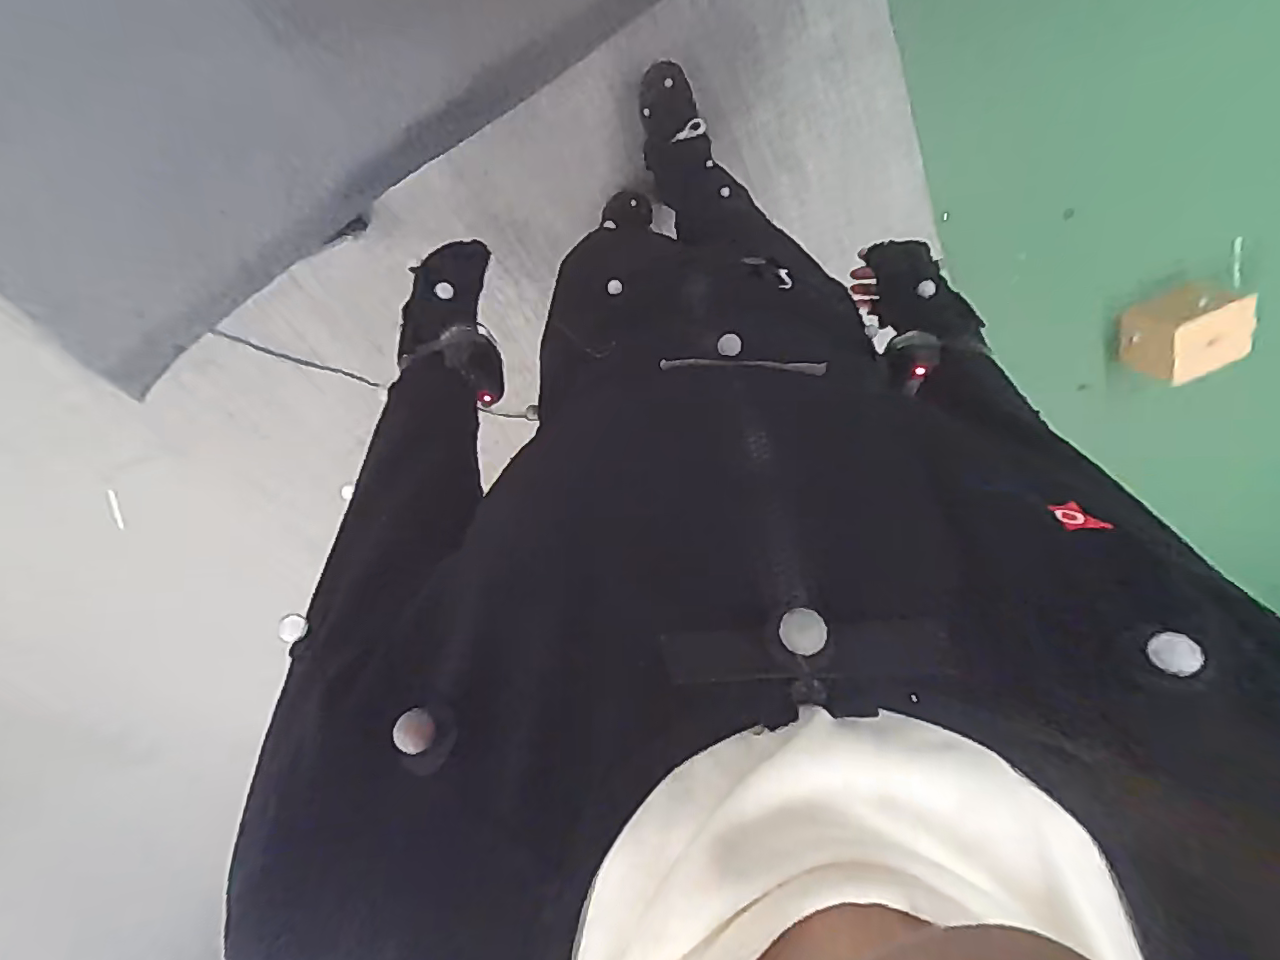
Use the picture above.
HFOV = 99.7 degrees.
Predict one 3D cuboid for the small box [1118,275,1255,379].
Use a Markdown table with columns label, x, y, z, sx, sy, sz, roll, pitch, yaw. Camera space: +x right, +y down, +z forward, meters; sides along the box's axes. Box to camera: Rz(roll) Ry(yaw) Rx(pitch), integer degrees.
| label | x | y | z | sx | sy | sz | roll | pitch | yaw |
| --- | --- | --- | --- | --- | --- | --- | --- | --- | --- |
| small box | 1.361 | -0.389 | 1.358 | 0.179 | 0.176 | 0.168 | -25 | 120 | 13 |
